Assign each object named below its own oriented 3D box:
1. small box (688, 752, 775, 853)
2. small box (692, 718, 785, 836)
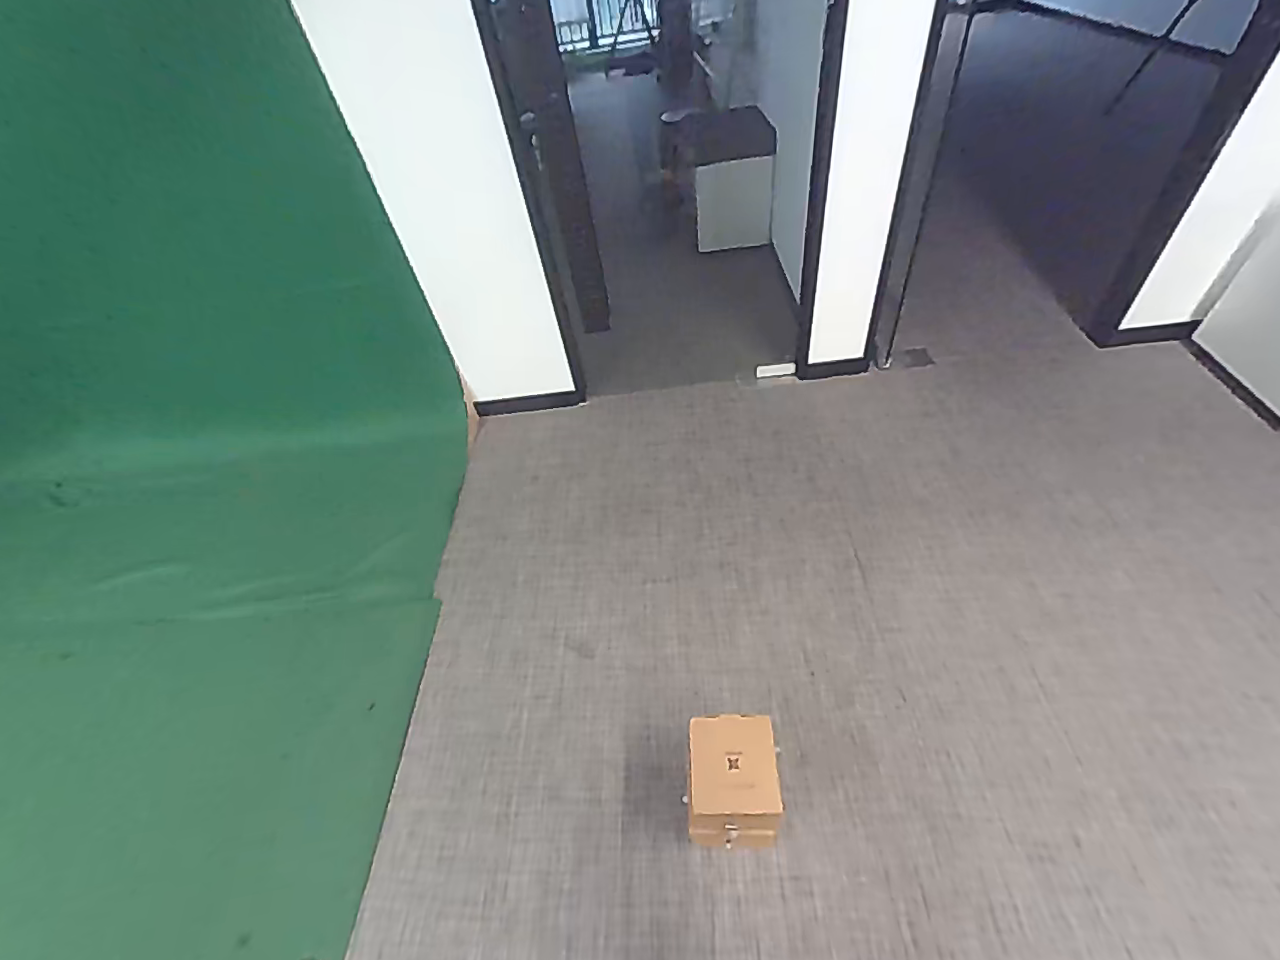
[{"bbox_3d":[0.202,0.724,1.215,0.179,0.176,0.168,-5,46,7],"label":"small box"},{"bbox_3d":[0.196,0.607,1.103,0.168,0.176,0.179,-5,47,7],"label":"small box"}]
